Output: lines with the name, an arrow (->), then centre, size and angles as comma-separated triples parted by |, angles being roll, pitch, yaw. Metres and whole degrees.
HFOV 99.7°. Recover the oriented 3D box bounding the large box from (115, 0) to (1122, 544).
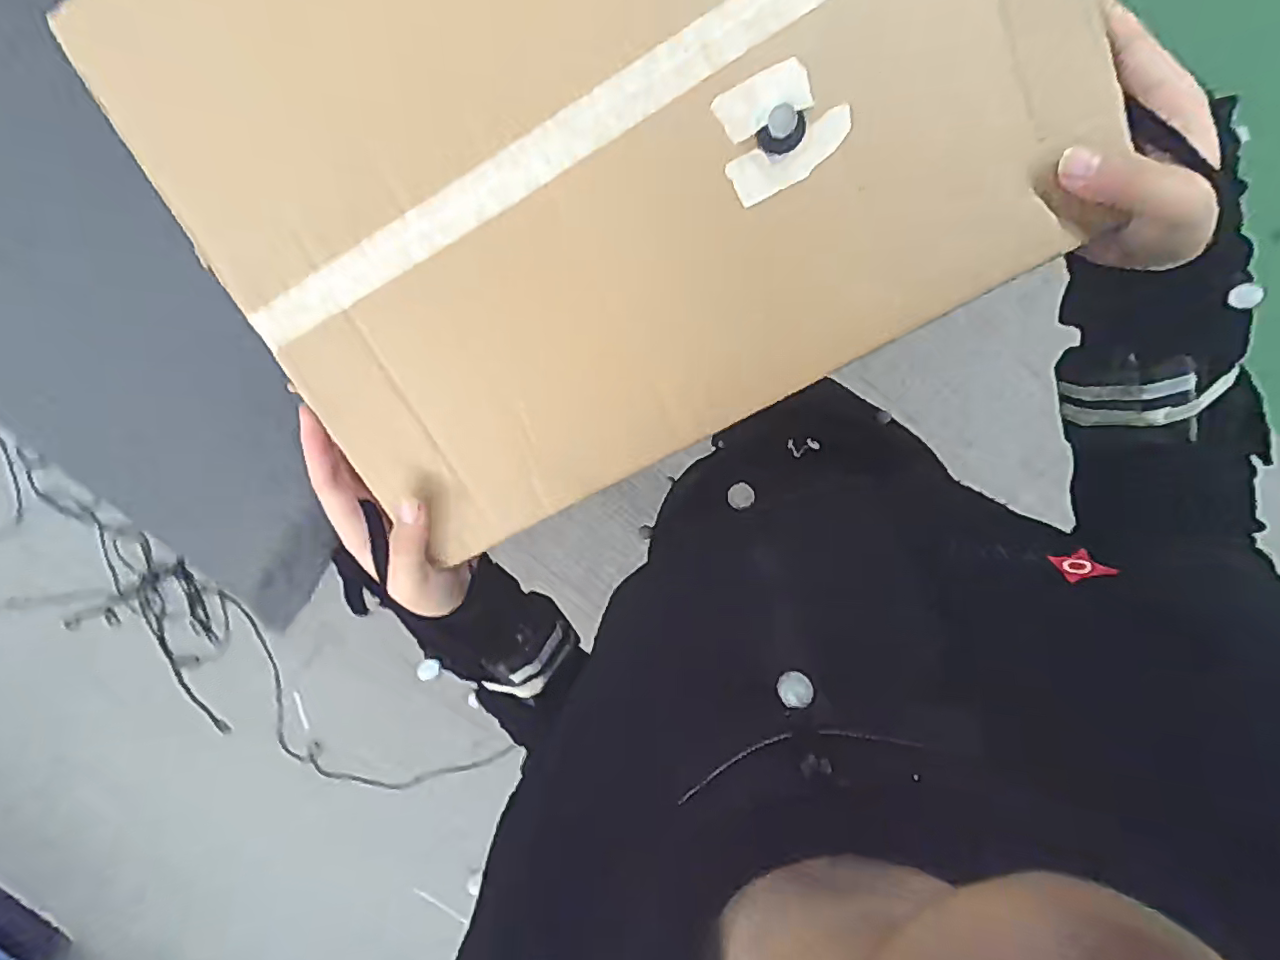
large box -> -0.006, -0.216, 0.403 | 0.408, 0.320, 0.320 | -27, 103, 8
